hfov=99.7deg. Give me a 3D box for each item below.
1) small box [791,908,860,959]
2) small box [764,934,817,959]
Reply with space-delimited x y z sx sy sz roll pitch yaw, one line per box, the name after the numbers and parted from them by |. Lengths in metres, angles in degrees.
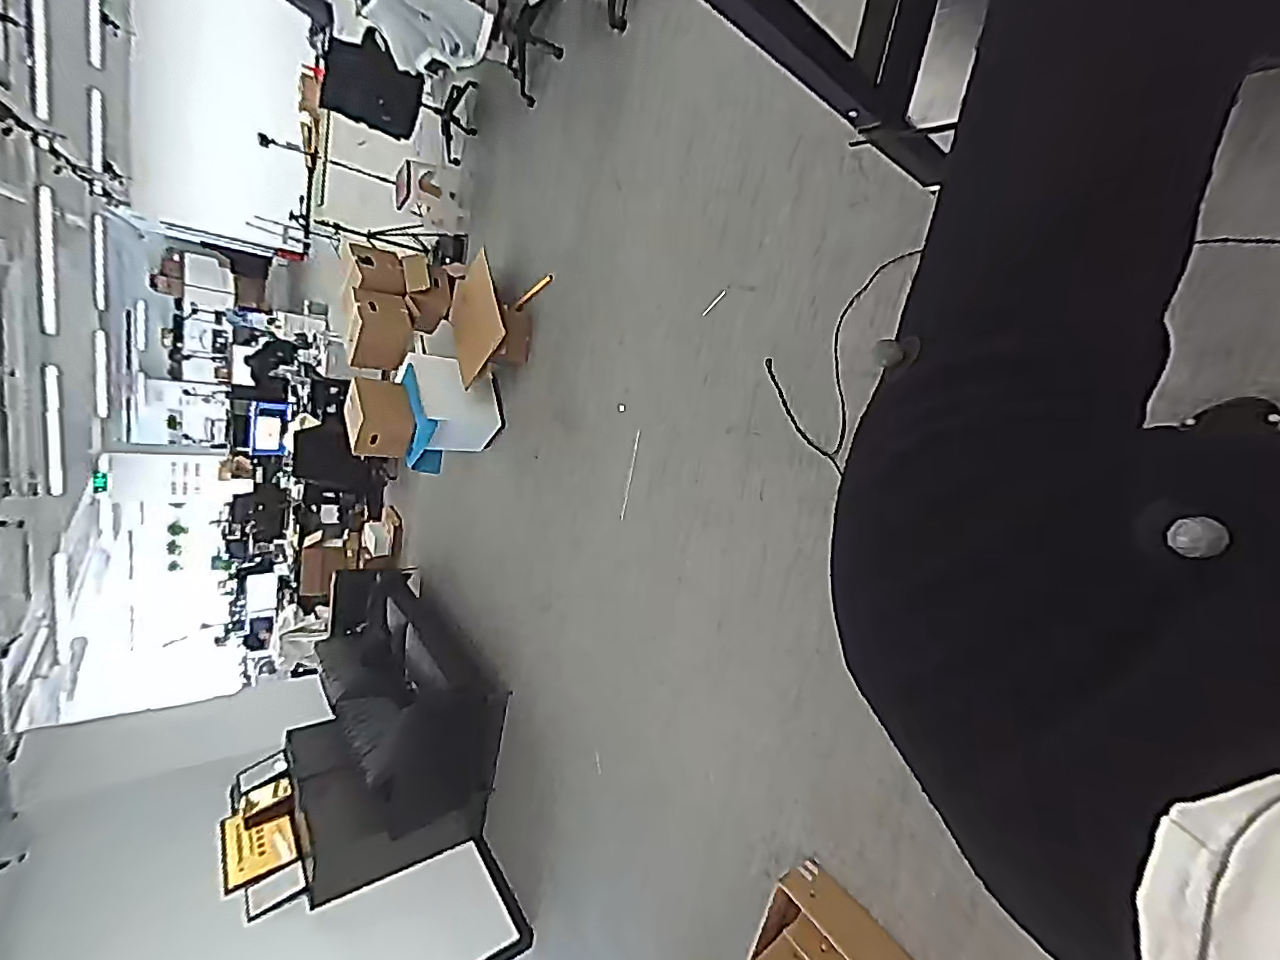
0.581 1.545 1.741 0.168 0.176 0.179 26 109 47 | small box
0.457 1.548 1.635 0.168 0.176 0.179 29 111 45 | small box
